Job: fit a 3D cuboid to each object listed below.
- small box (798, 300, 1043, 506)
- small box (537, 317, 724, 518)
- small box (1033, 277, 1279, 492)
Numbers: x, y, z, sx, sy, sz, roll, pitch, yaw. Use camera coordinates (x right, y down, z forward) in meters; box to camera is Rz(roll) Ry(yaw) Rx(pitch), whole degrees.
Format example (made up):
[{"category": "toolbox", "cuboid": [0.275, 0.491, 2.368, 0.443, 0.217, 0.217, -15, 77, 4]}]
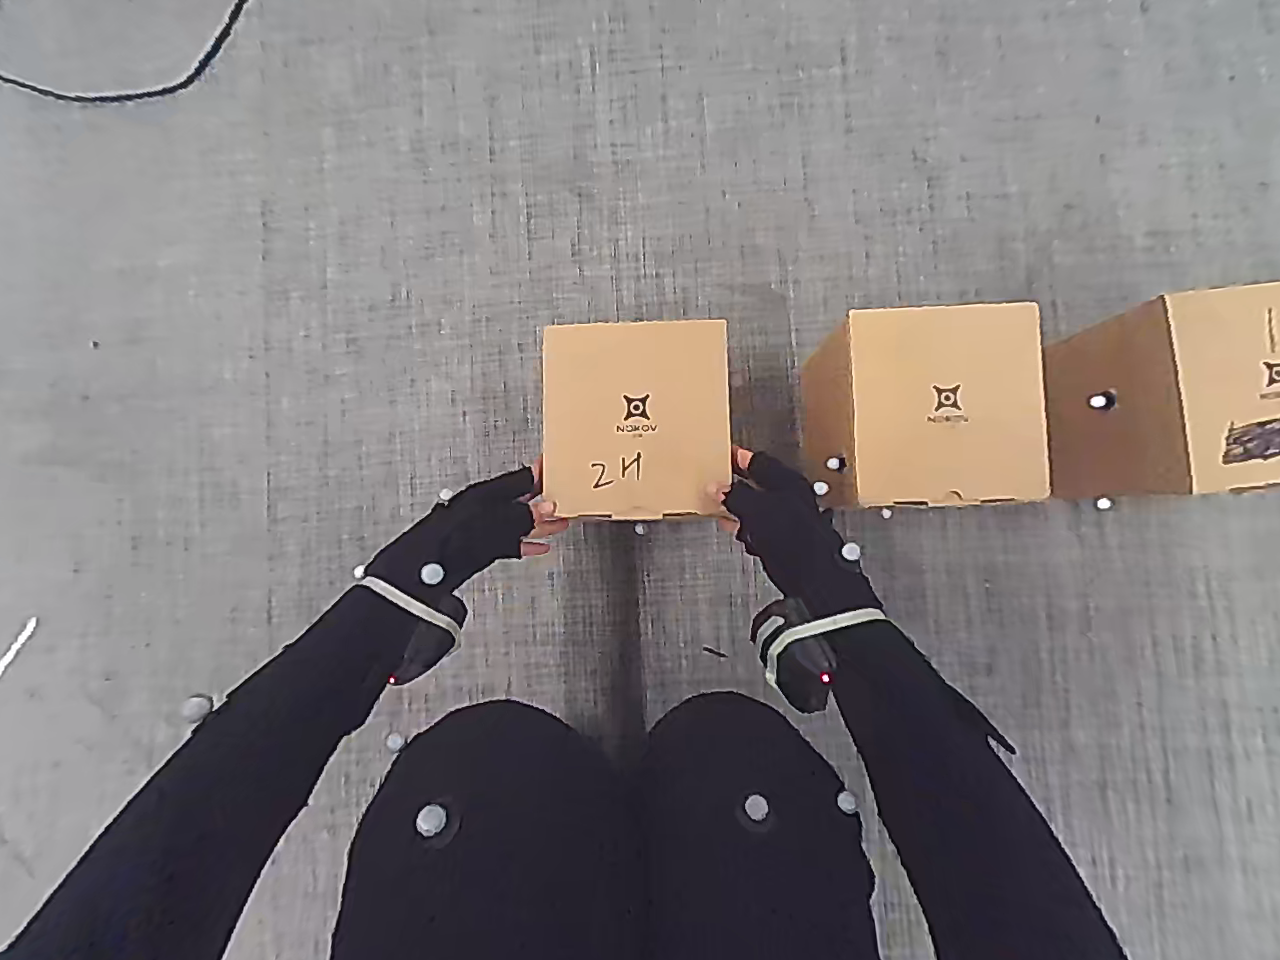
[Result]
[{"category": "small box", "cuboid": [0.263, -0.064, 0.549, 0.168, 0.176, 0.179, -2, 87, 3]}, {"category": "small box", "cuboid": [-0.005, -0.051, 0.557, 0.168, 0.176, 0.179, -1, 85, 4]}, {"category": "small box", "cuboid": [0.531, -0.080, 0.534, 0.168, 0.176, 0.179, -5, 86, 3]}]
